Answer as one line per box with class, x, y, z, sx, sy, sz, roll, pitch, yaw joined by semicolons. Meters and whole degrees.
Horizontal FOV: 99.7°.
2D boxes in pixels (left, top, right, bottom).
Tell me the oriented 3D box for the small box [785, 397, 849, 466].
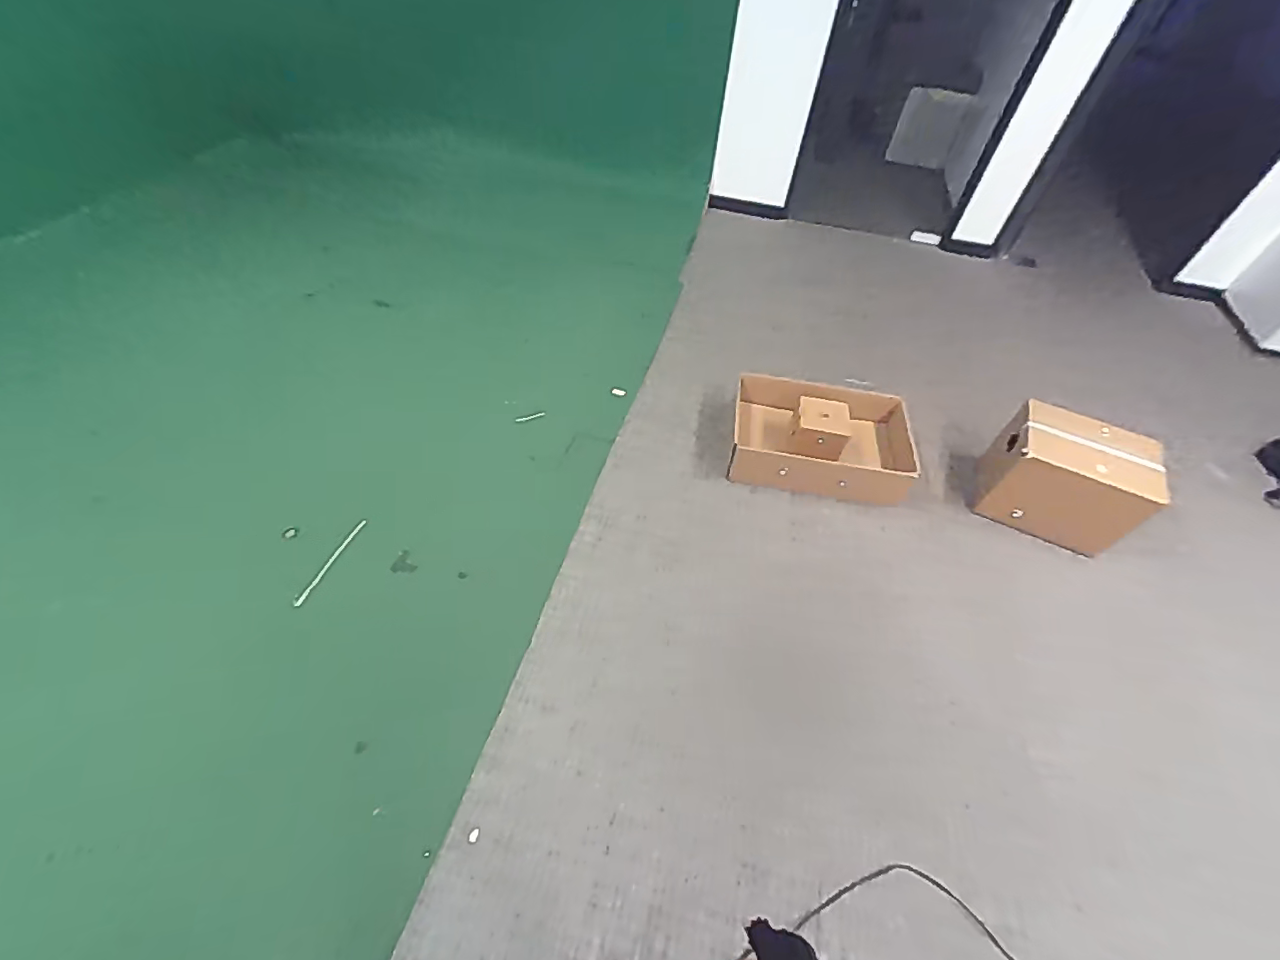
small box;0.631;-0.170;1.948;0.179;0.176;0.168;11;51;2
